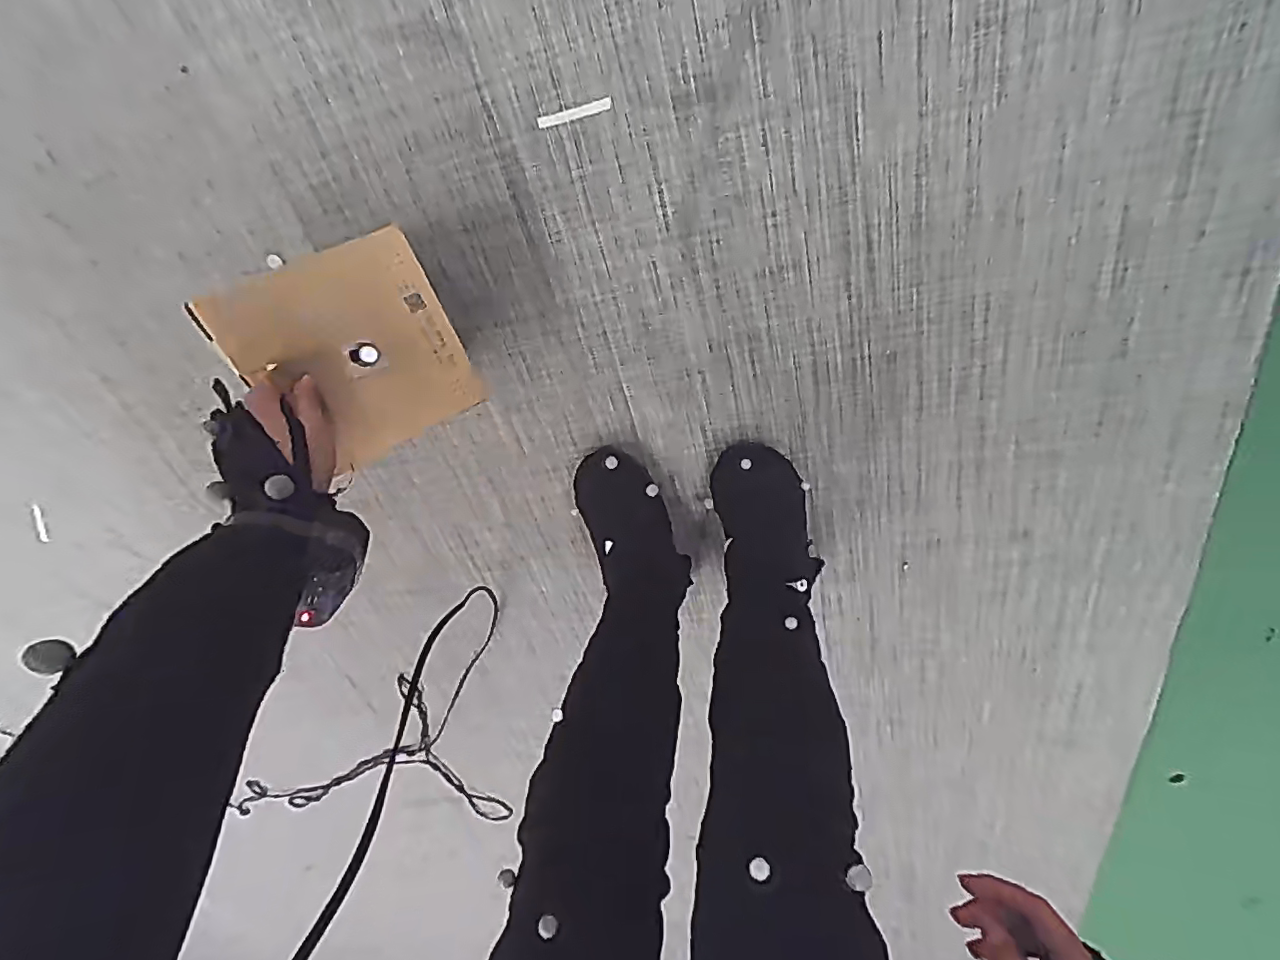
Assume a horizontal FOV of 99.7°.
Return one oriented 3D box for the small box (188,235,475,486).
[{"bbox_3d":[-0.287,-0.123,0.528,0.176,0.179,0.168,-35,122,-21],"label":"small box"}]
